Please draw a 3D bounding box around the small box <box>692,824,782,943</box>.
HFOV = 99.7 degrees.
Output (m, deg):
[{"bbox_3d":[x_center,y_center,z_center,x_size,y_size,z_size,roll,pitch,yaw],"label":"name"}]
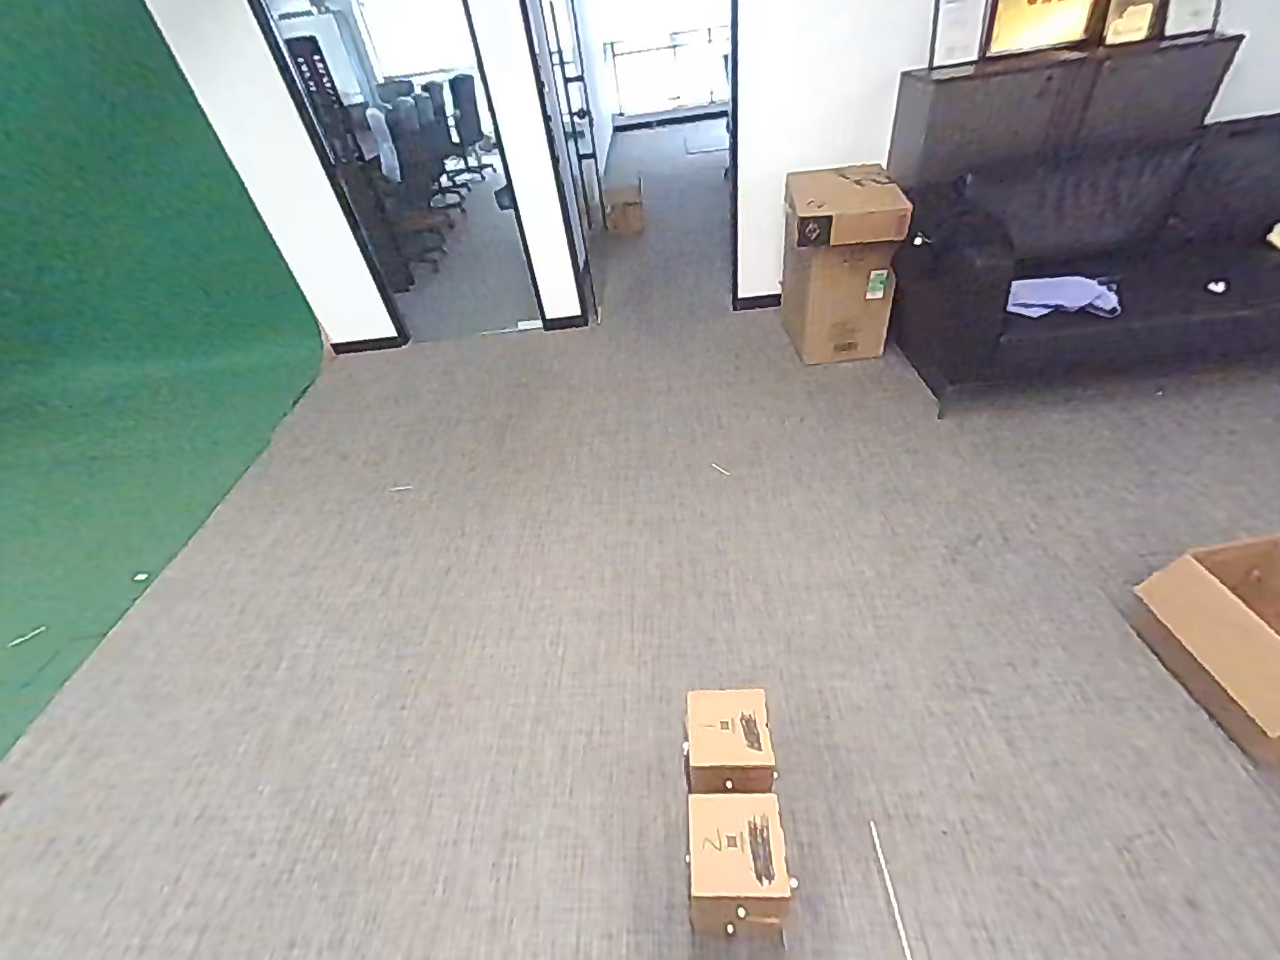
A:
[{"bbox_3d":[0.206,0.857,1.149,0.179,0.176,0.168,-1,42,9],"label":"small box"}]
